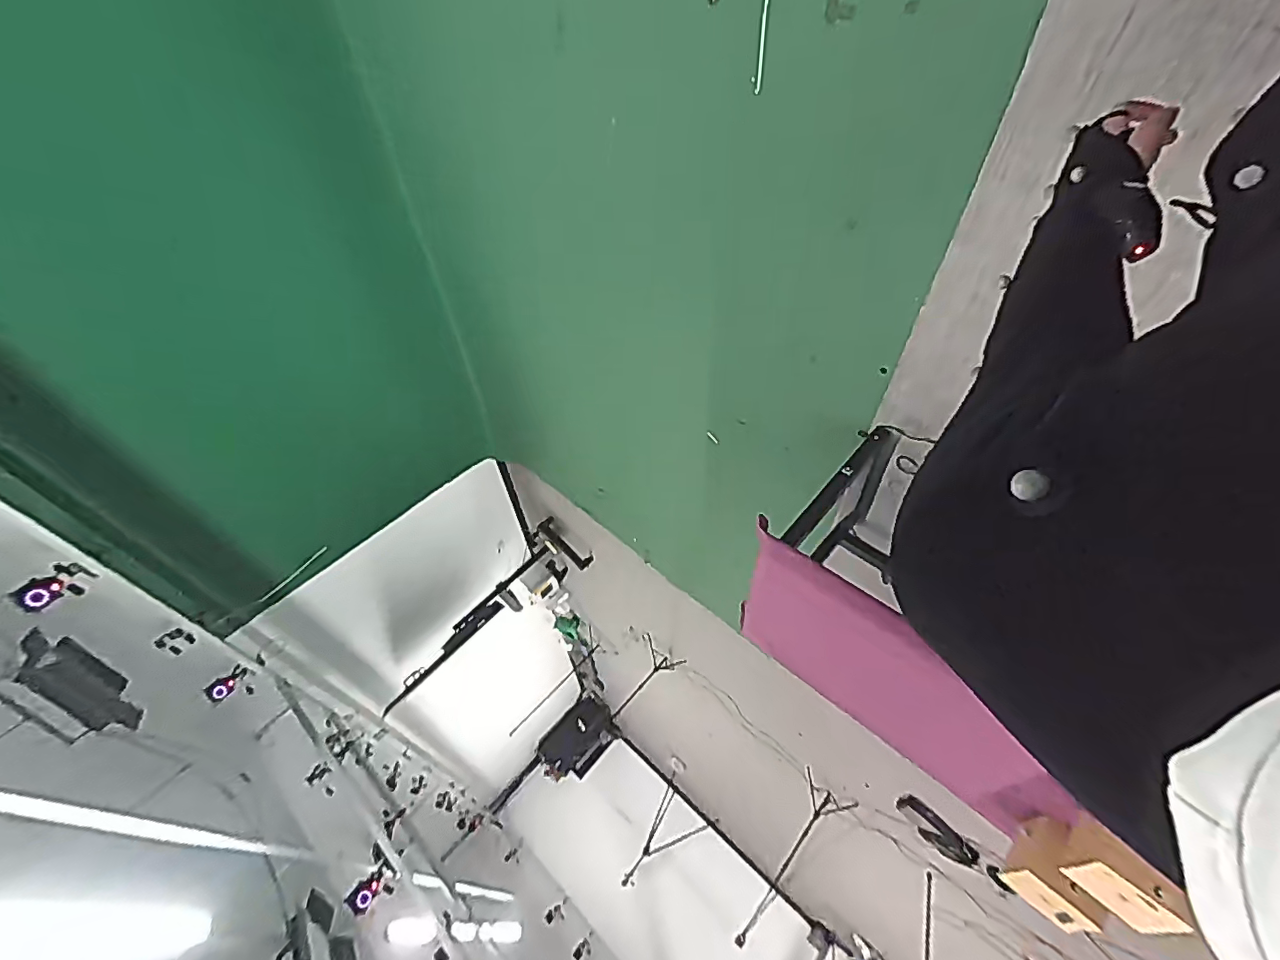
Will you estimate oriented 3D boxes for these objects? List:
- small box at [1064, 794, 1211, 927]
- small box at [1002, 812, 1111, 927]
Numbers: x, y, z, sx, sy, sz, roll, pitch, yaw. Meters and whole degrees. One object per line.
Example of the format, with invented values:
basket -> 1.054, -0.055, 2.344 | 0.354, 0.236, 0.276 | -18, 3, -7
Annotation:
small box -> 1.092, 0.832, 1.190 | 0.168, 0.176, 0.179 | 33, 151, 29
small box -> 1.106, 1.016, 1.415 | 0.179, 0.176, 0.168 | 35, 150, 28
